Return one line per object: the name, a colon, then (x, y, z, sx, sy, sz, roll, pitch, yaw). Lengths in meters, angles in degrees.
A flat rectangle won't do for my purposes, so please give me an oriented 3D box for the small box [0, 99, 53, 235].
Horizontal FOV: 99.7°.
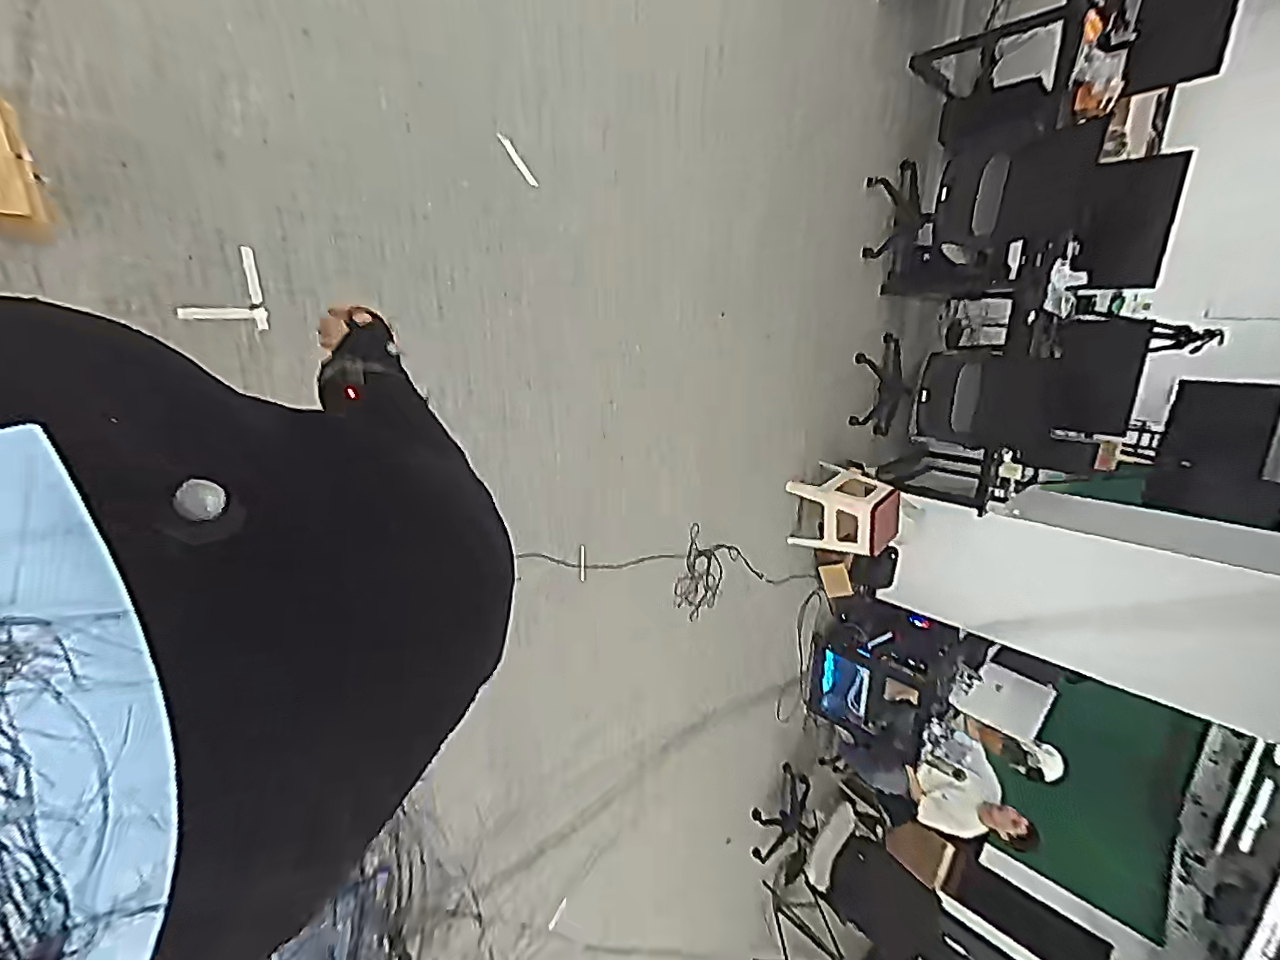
small box: (-1.073, -0.498, 0.855, 0.168, 0.176, 0.179, -15, 113, -41)
